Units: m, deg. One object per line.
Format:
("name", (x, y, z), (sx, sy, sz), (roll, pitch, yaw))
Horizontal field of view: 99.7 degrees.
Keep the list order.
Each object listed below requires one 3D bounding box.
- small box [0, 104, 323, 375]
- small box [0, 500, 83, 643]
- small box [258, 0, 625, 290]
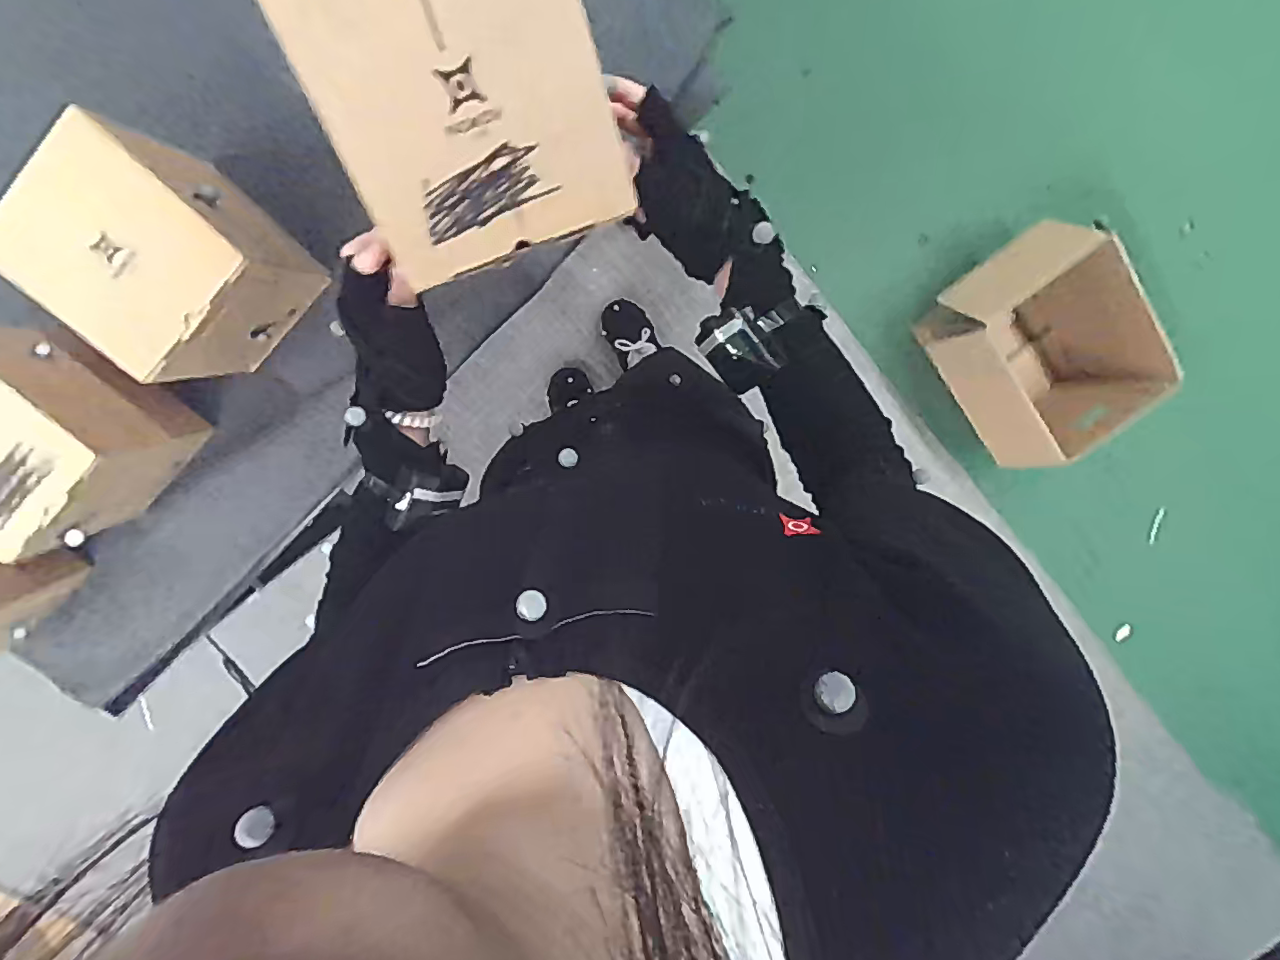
("small box", (-0.488, -0.231, 0.569), (0.168, 0.176, 0.179), (-45, 104, 7))
("small box", (-0.845, 0.125, 0.631), (0.168, 0.176, 0.179), (-41, 103, 7))
("small box", (-0.115, -0.261, 0.386), (0.168, 0.176, 0.179), (-17, 121, 3))
